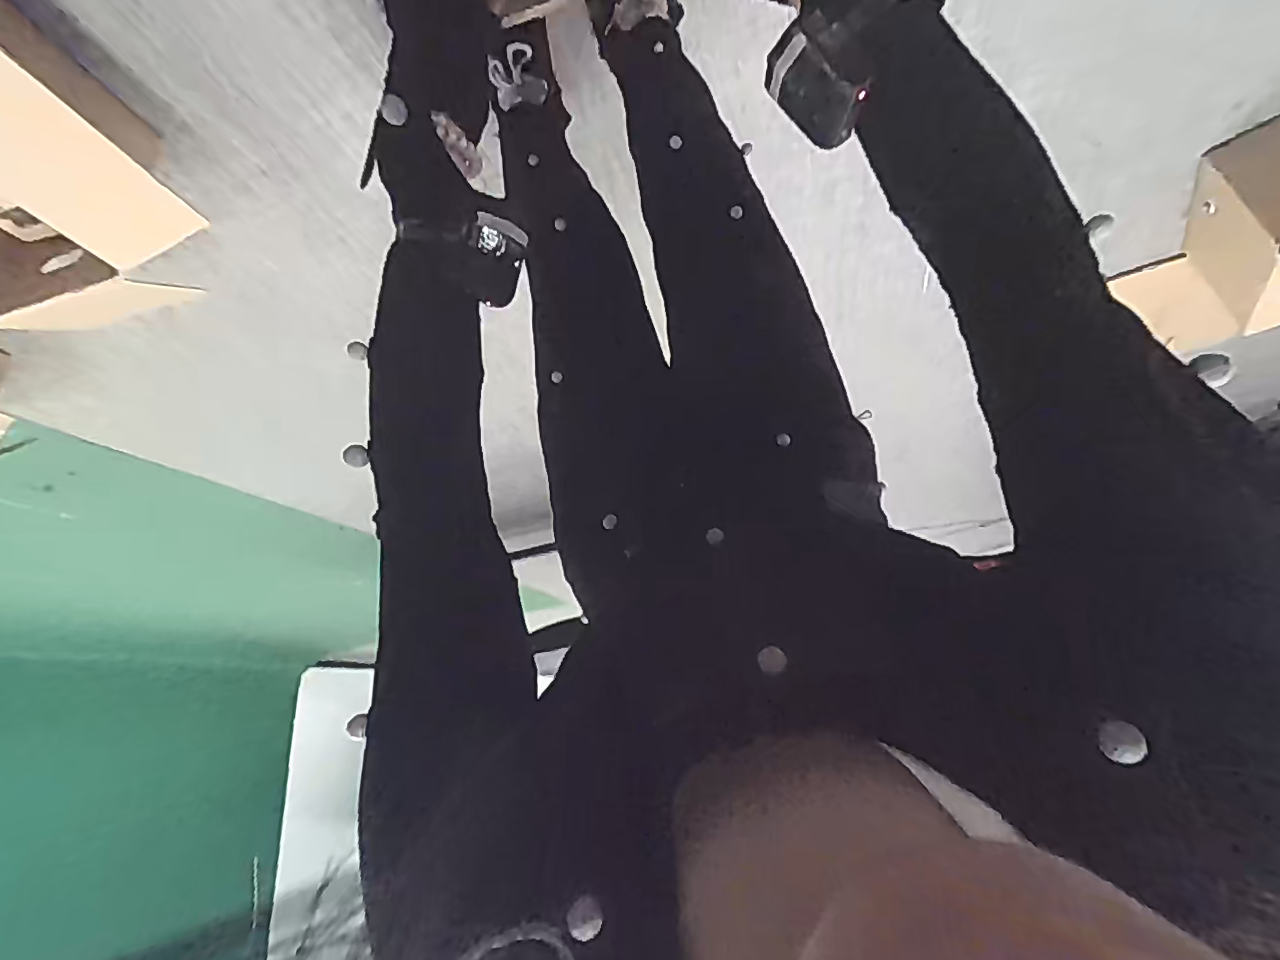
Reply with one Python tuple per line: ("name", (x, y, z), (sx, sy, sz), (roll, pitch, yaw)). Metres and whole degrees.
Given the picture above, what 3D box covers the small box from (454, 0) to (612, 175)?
("small box", (-0.172, -0.634, 0.850), (0.179, 0.176, 0.168), (31, 145, -21))
